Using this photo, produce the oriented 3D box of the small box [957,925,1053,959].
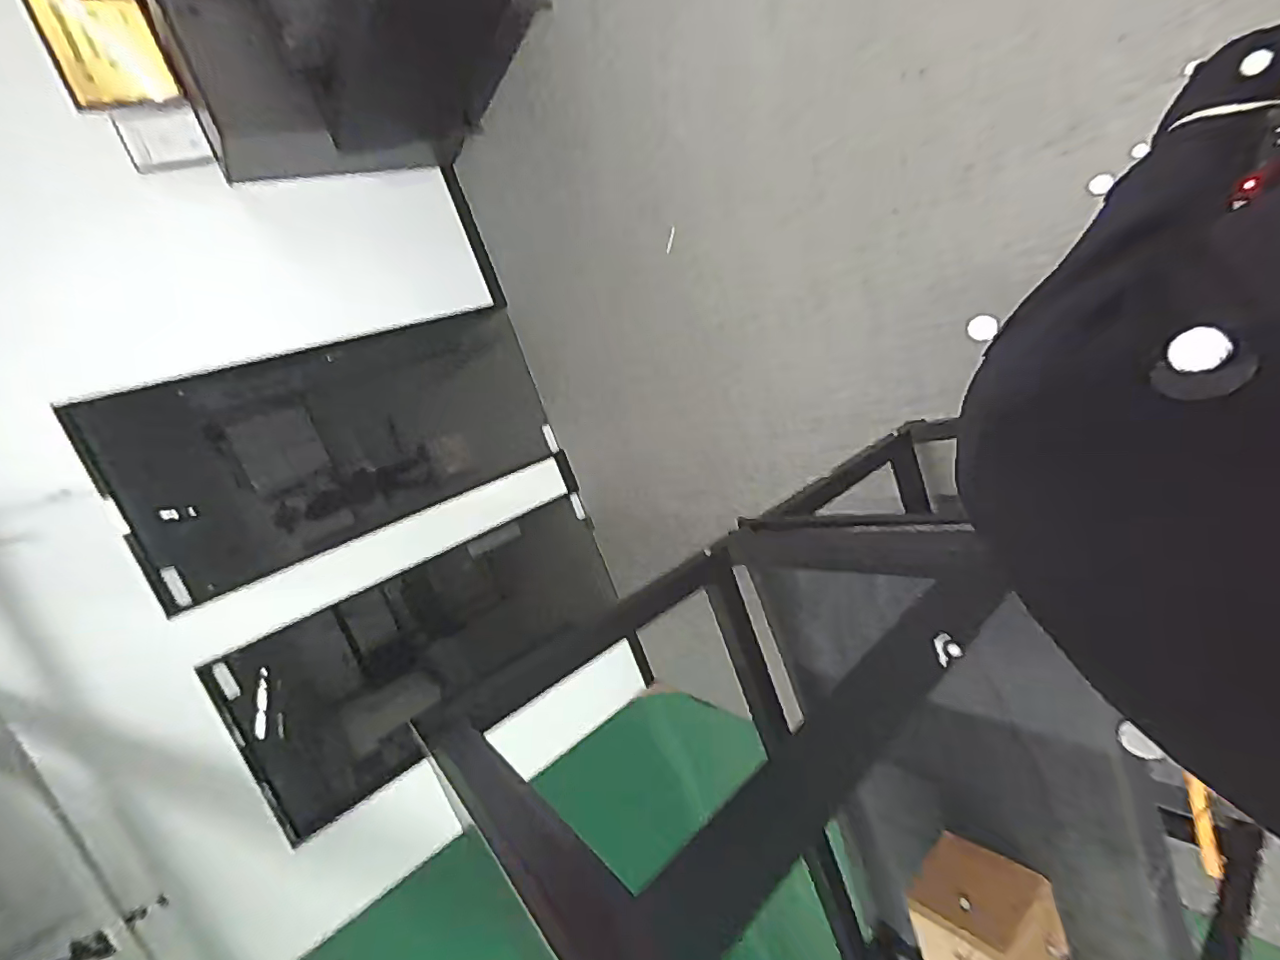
[{"bbox_3d":[0.695,0.977,0.987,0.179,0.176,0.168,-6,107,57],"label":"small box"}]
